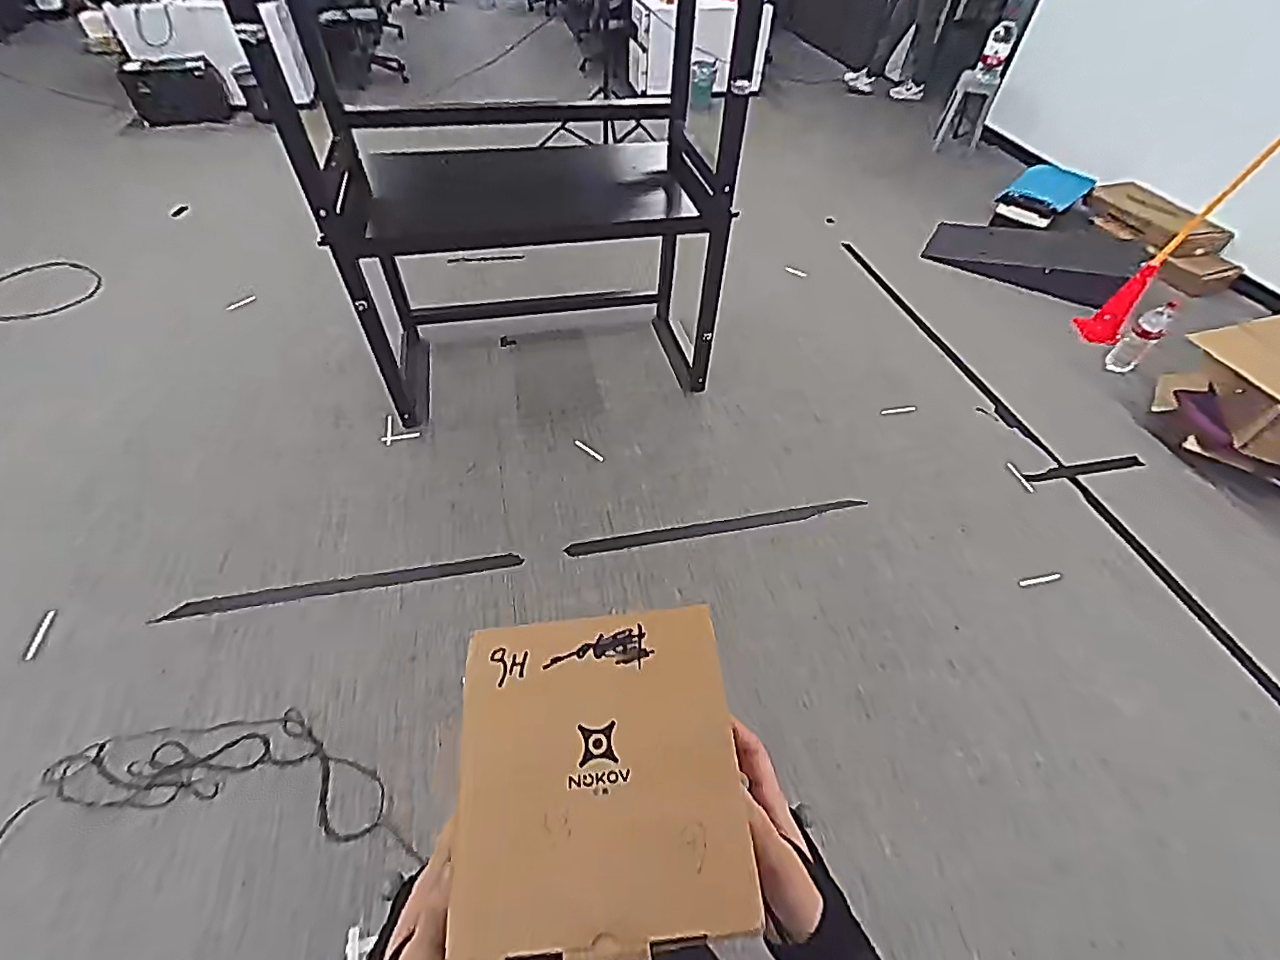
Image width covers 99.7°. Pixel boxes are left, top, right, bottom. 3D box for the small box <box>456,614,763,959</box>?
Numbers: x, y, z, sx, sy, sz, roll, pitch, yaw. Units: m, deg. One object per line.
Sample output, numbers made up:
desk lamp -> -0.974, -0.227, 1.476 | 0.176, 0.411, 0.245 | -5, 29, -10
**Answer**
small box -> -0.019, 0.214, 0.392 | 0.168, 0.176, 0.179 | -5, 57, -2
